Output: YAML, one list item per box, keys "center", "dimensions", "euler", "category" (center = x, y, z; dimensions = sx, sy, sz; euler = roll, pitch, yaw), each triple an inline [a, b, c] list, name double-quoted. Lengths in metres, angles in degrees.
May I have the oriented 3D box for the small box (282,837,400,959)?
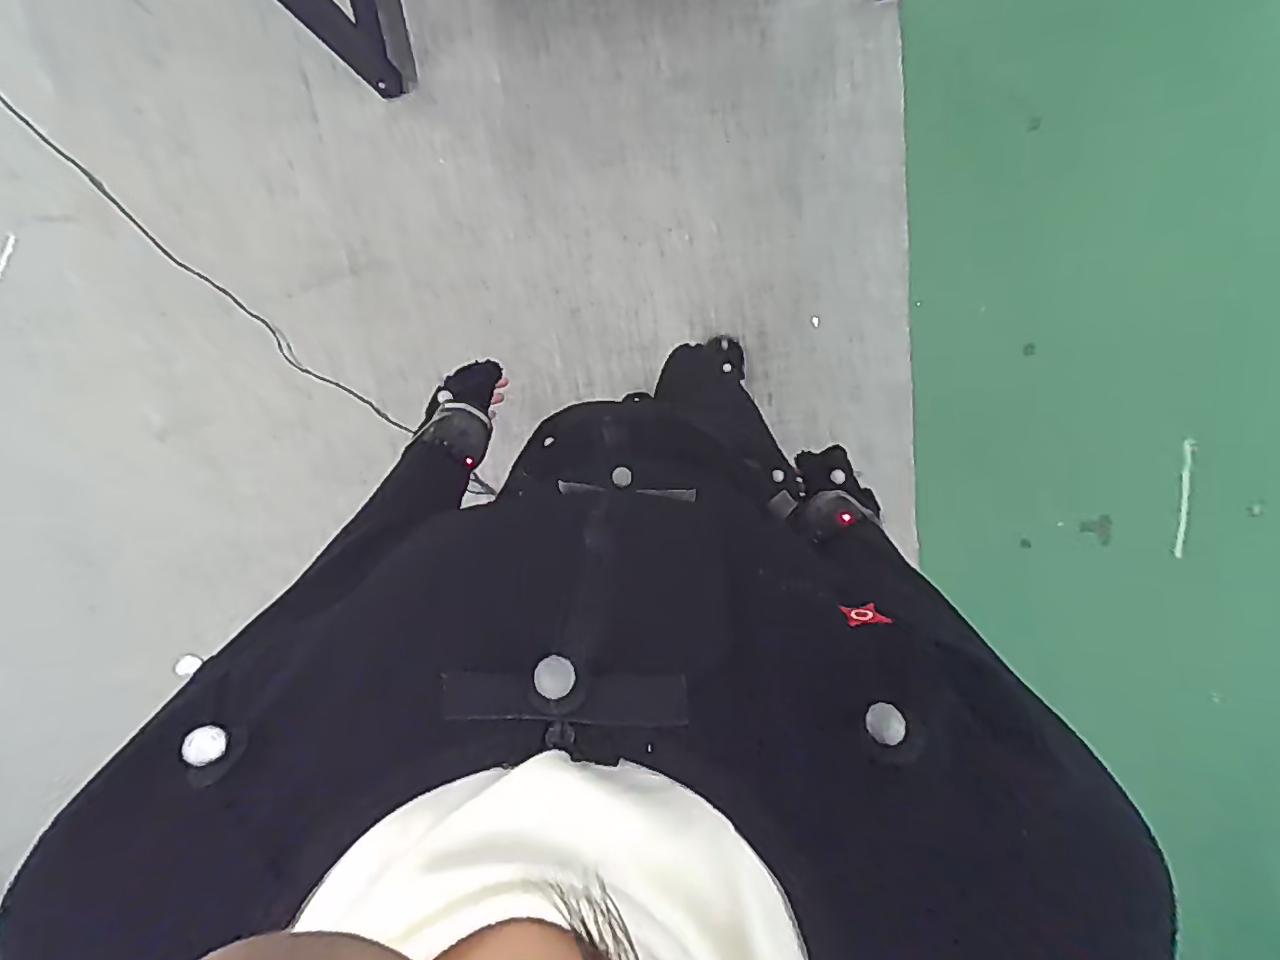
- center: [-0.714, 1.027, 1.312]
  dimensions: [0.168, 0.176, 0.179]
  euler: [26, 100, -4]
  category: "small box"
